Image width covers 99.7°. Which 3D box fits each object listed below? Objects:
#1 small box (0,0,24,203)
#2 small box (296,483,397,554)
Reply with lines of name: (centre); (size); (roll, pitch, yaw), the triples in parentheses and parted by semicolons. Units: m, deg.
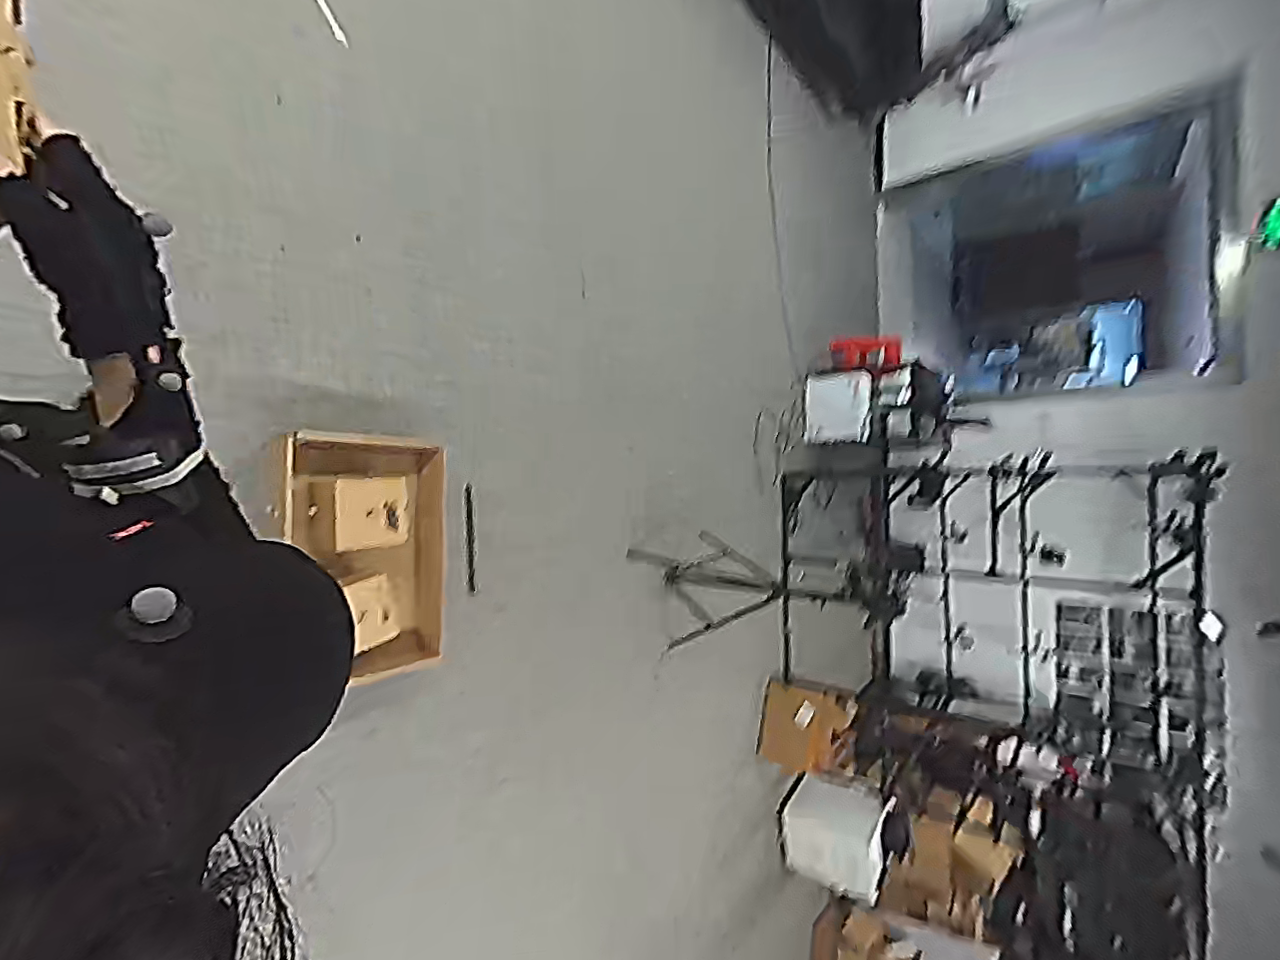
small box: (-0.477, -0.251, 0.285); (0.179, 0.176, 0.168); (-6, 97, -55)
small box: (-0.746, 0.091, 1.377); (0.179, 0.176, 0.168); (-2, 92, -52)
